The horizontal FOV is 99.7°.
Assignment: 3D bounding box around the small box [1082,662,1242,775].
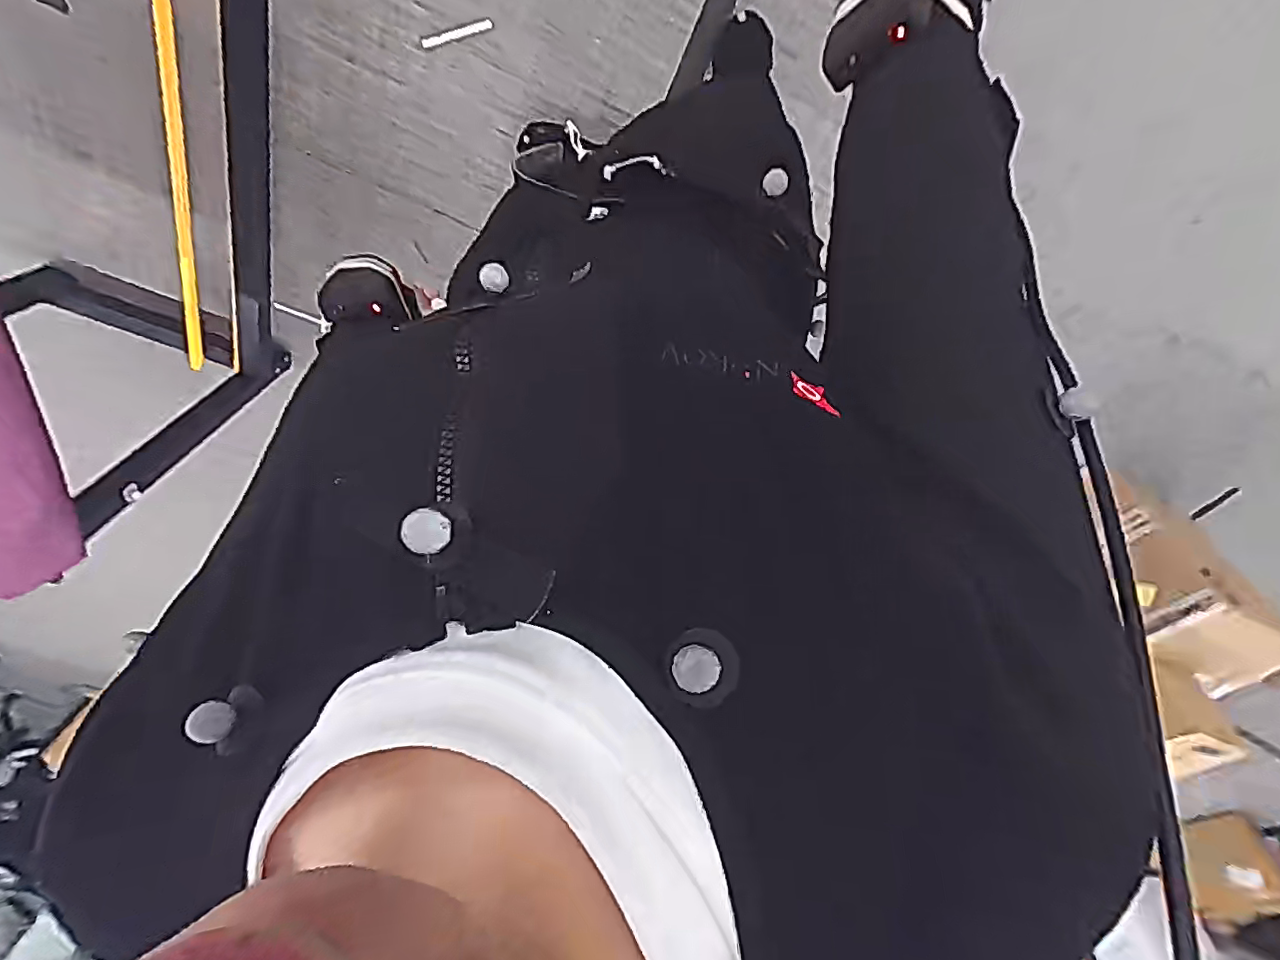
[{"bbox_3d":[1.193,0.550,1.254,0.168,0.176,0.179,22,130,-10],"label":"small box"}]
